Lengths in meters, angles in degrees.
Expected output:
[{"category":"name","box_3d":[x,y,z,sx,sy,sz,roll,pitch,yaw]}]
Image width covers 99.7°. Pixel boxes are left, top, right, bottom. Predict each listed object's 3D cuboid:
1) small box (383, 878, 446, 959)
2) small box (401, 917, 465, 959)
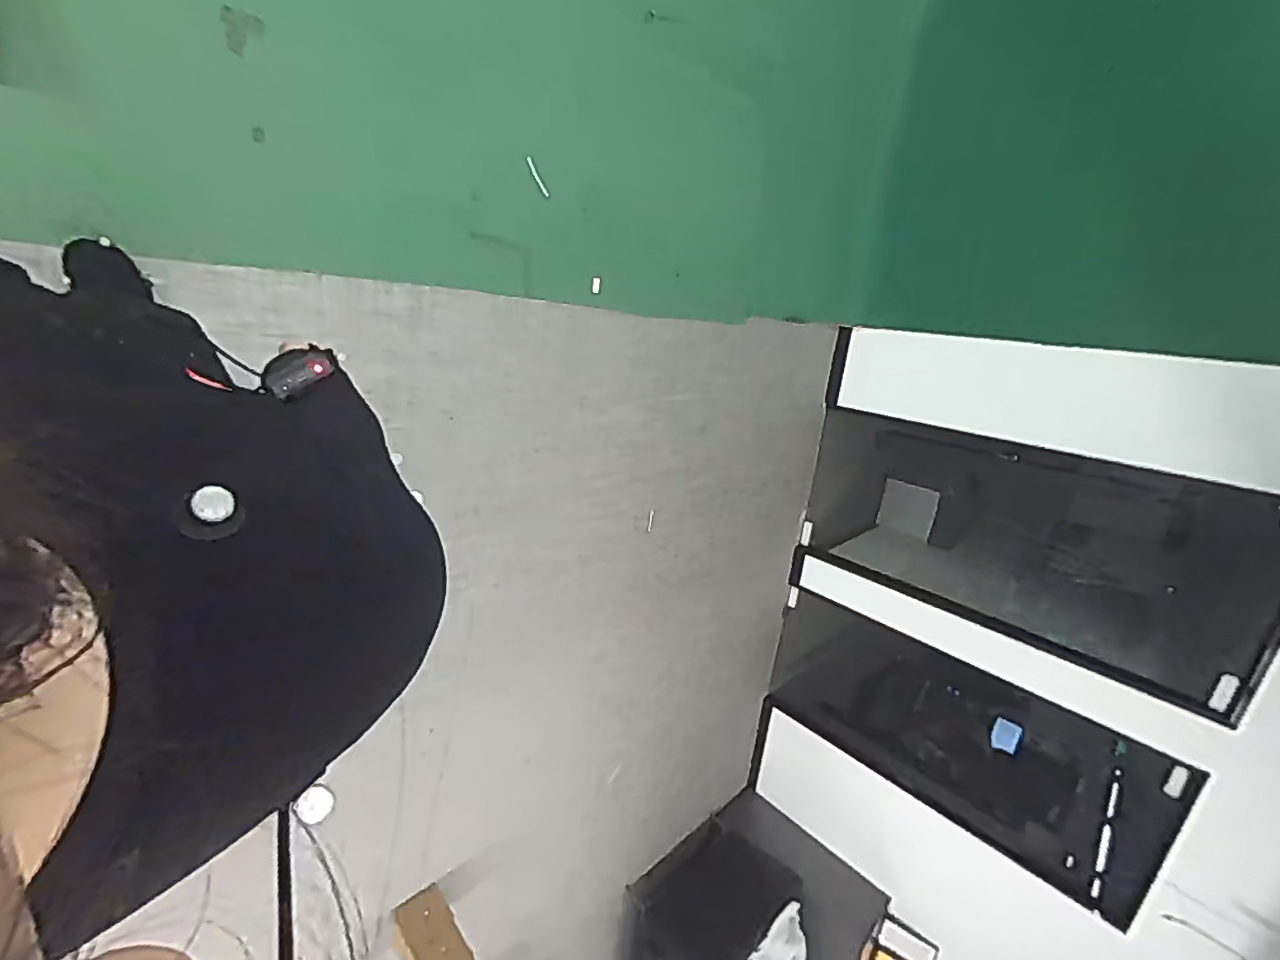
[{"category":"small box","box_3d":[-0.857,1.678,2.049,0.179,0.176,0.168,-10,114,-45]},{"category":"small box","box_3d":[-0.746,1.729,1.938,0.168,0.176,0.179,-8,114,-44]}]
